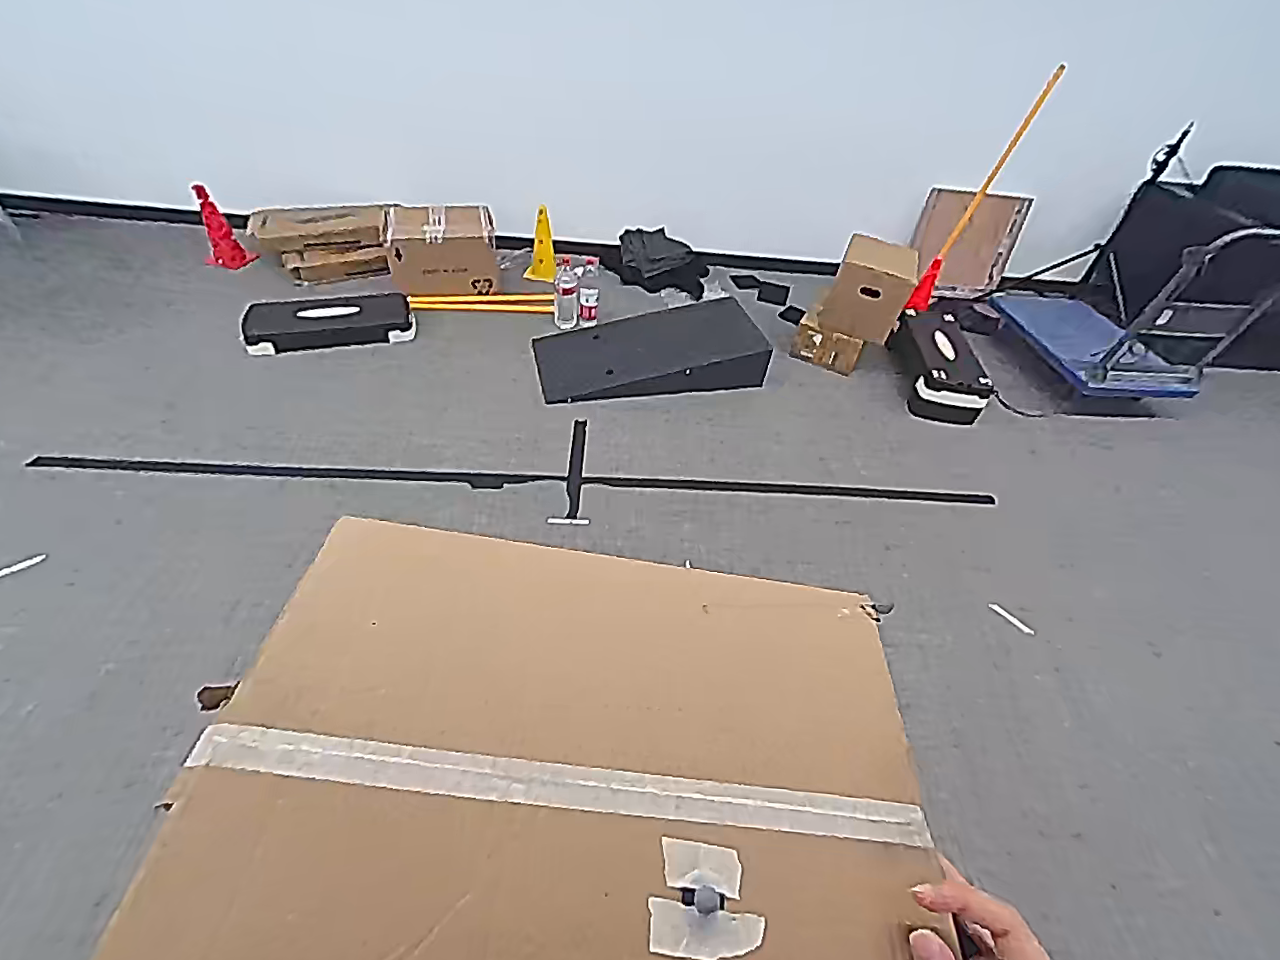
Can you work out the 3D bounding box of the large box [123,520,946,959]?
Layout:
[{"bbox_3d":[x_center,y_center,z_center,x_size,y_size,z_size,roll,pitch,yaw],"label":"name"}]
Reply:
[{"bbox_3d":[-0.054,0.269,0.429,0.408,0.320,0.320,10,49,-5],"label":"large box"}]
